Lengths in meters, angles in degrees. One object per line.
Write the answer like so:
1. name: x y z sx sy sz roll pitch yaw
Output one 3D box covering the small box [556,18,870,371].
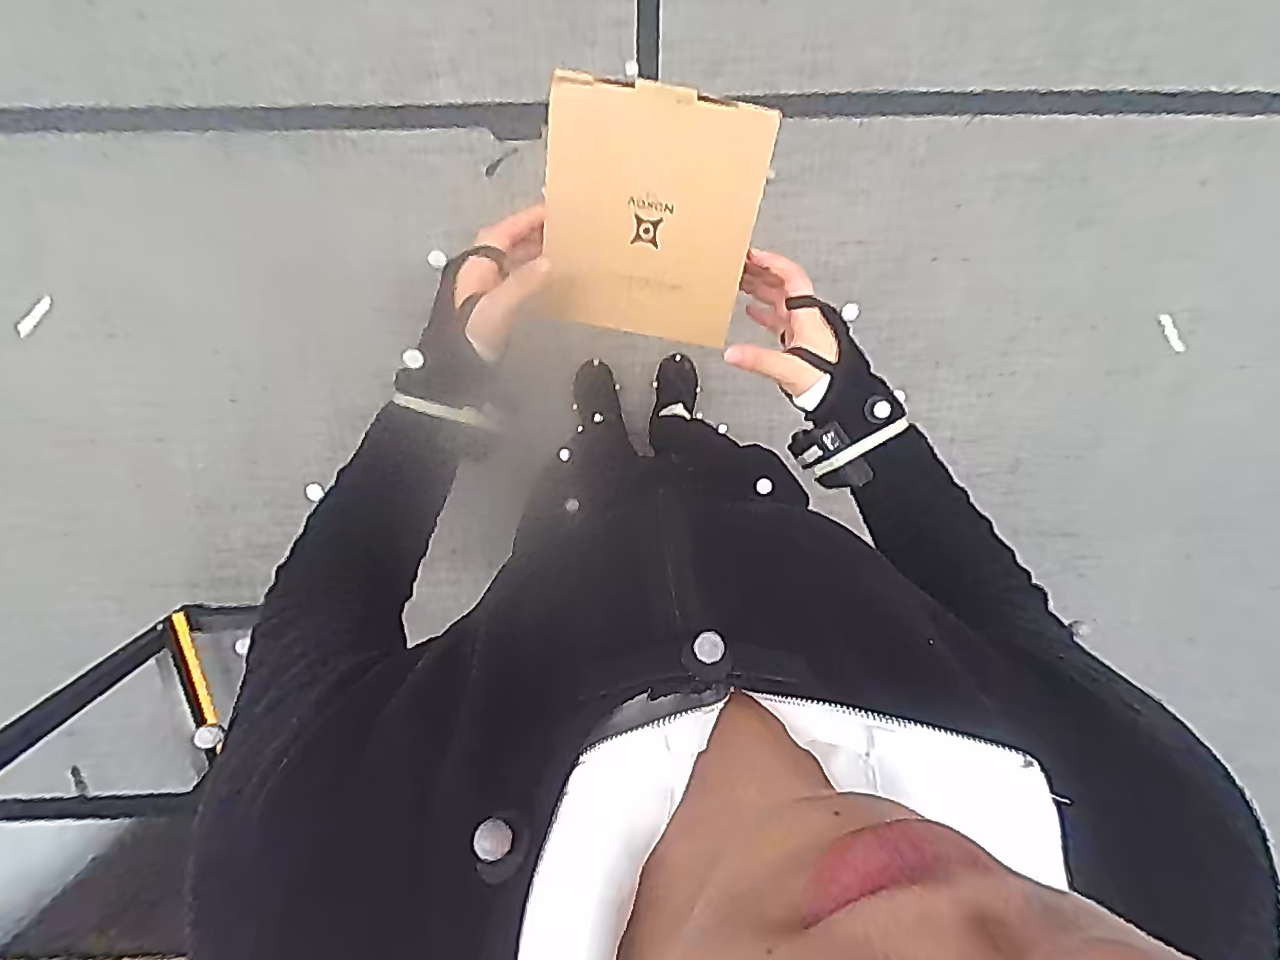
1. small box: 0.039 -0.207 0.405 0.168 0.176 0.179 10 125 -1
